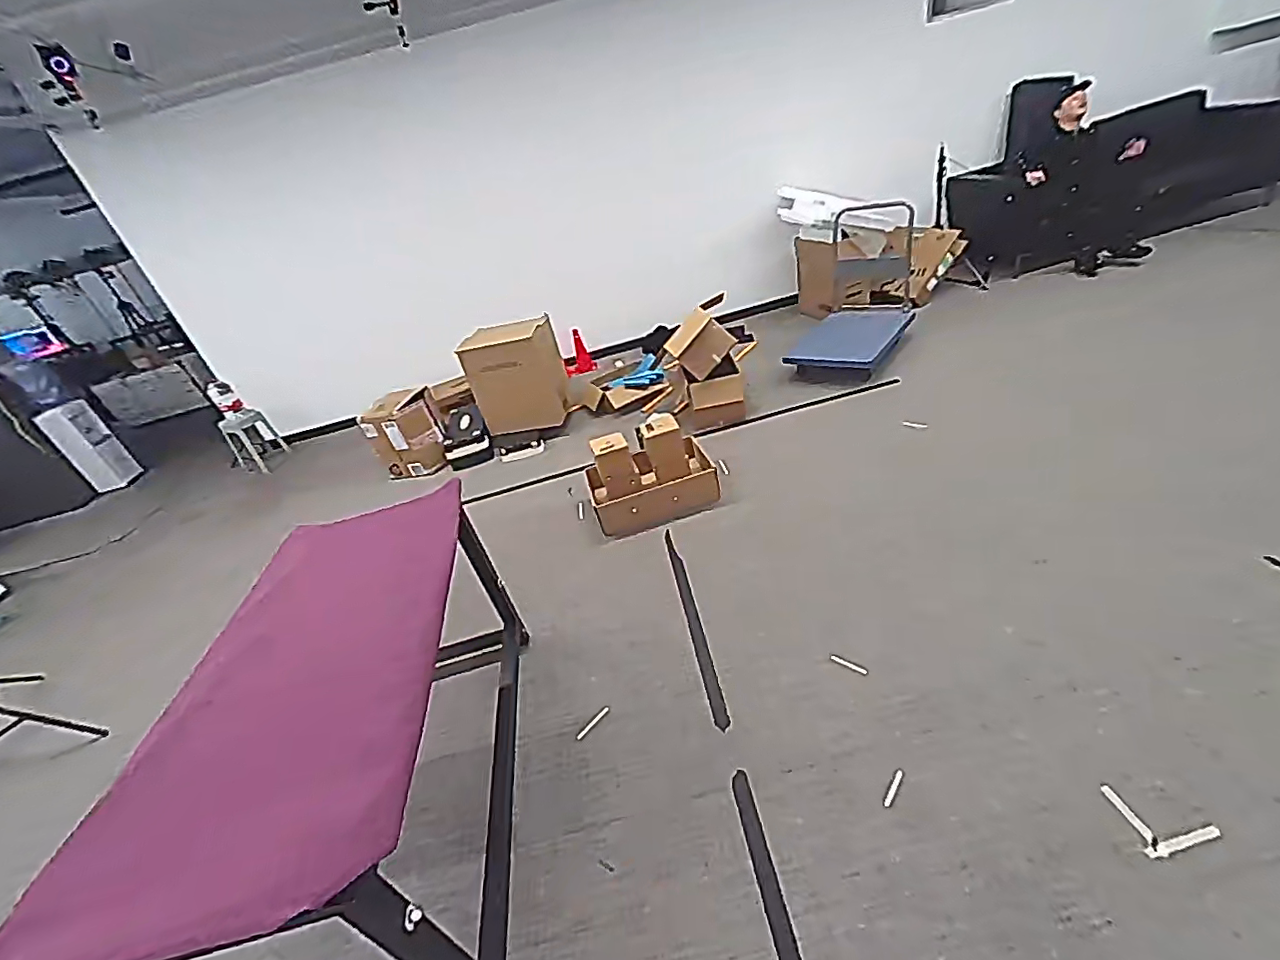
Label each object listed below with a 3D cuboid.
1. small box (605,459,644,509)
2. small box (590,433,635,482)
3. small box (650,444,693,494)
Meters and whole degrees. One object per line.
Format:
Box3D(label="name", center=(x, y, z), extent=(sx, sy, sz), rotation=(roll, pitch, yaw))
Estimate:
Box3D(label="small box", center=(-0.084, 0.023, 2.751), extent=(0.179, 0.176, 0.168), rotation=(-18, 30, -6))
Box3D(label="small box", center=(-0.135, -0.105, 2.659), extent=(0.168, 0.176, 0.179), rotation=(-18, 30, -7))
Box3D(label="small box", center=(0.162, -0.054, 2.771), extent=(0.168, 0.176, 0.179), rotation=(-19, 31, -3))
